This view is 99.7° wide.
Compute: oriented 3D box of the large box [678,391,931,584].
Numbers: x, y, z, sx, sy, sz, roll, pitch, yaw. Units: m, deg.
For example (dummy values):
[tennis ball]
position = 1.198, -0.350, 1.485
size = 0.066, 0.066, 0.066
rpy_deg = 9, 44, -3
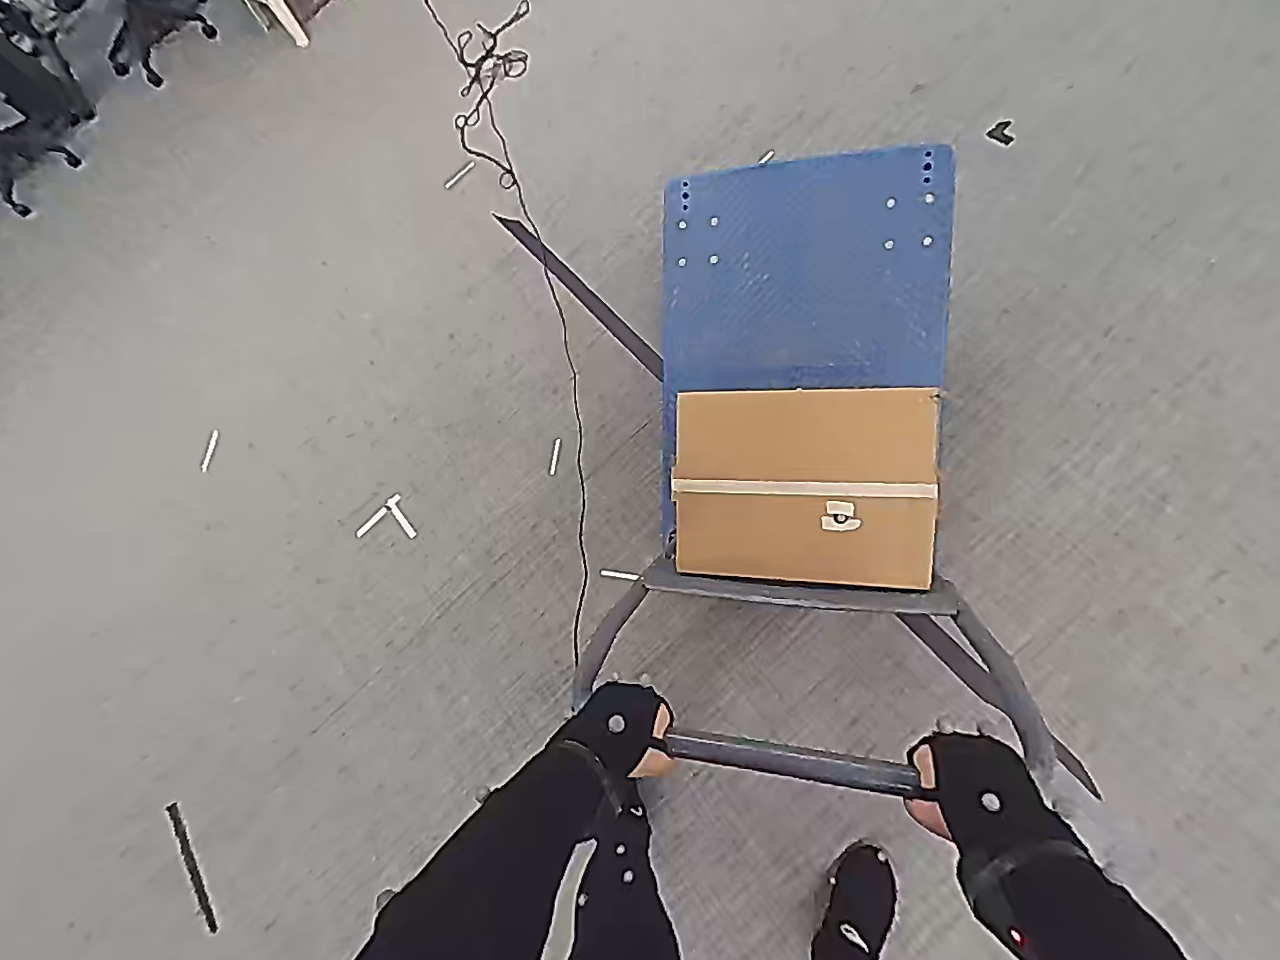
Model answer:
[large box]
position = 0.297, 0.003, 1.039
size = 0.408, 0.320, 0.320
rpy_deg = 1, 95, 15
